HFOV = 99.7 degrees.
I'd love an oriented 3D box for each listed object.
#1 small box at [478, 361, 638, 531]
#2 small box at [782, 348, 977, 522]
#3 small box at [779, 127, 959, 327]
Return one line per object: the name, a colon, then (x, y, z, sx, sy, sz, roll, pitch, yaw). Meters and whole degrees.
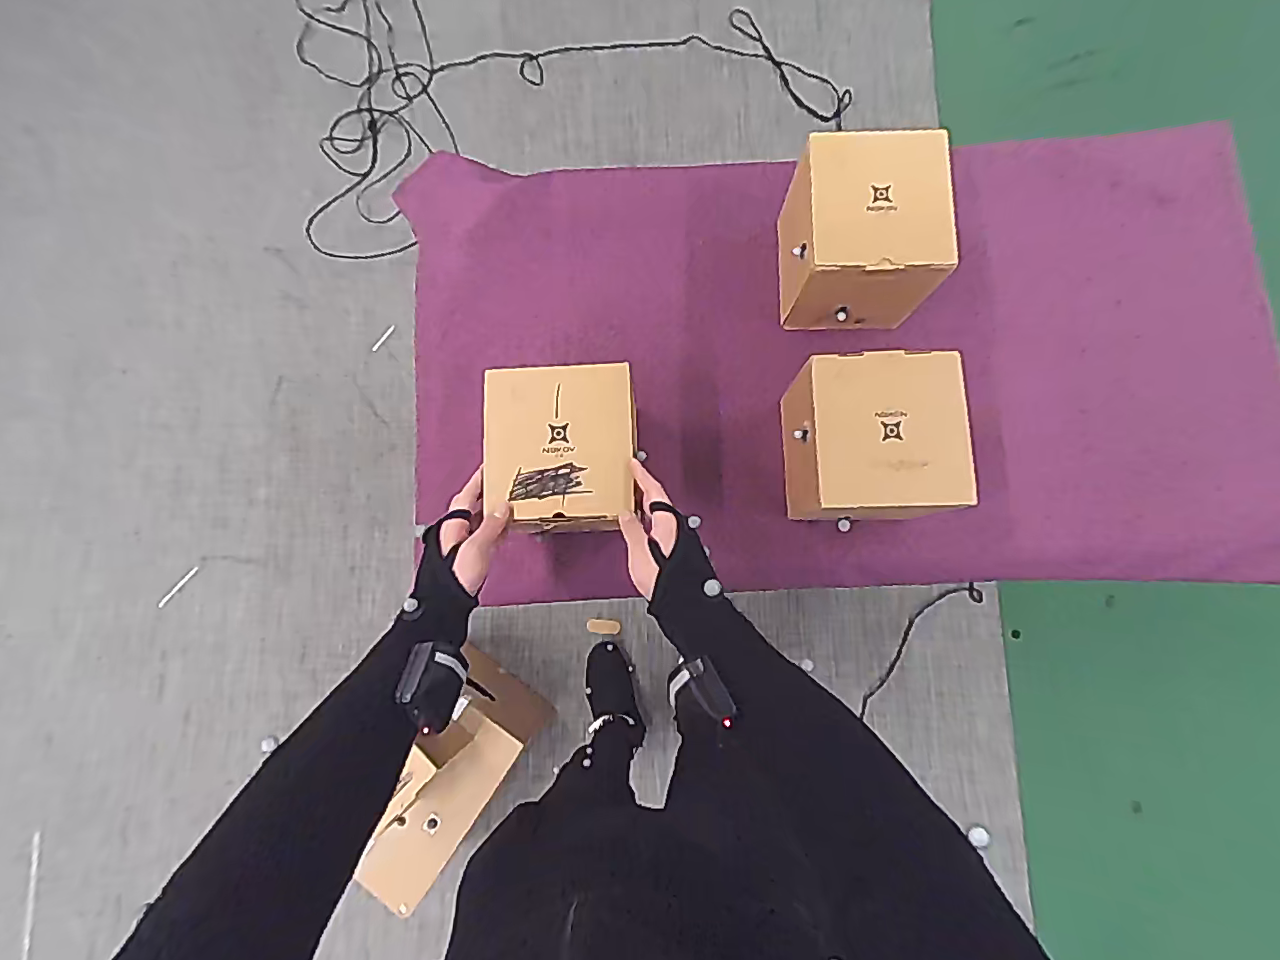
small box: (-0.090, -0.029, 0.662, 0.168, 0.176, 0.179, -3, 80, 2)
small box: (0.273, -0.044, 0.657, 0.168, 0.176, 0.179, -1, 81, 3)
small box: (0.279, -0.316, 0.700, 0.168, 0.176, 0.179, 0, 83, 2)
